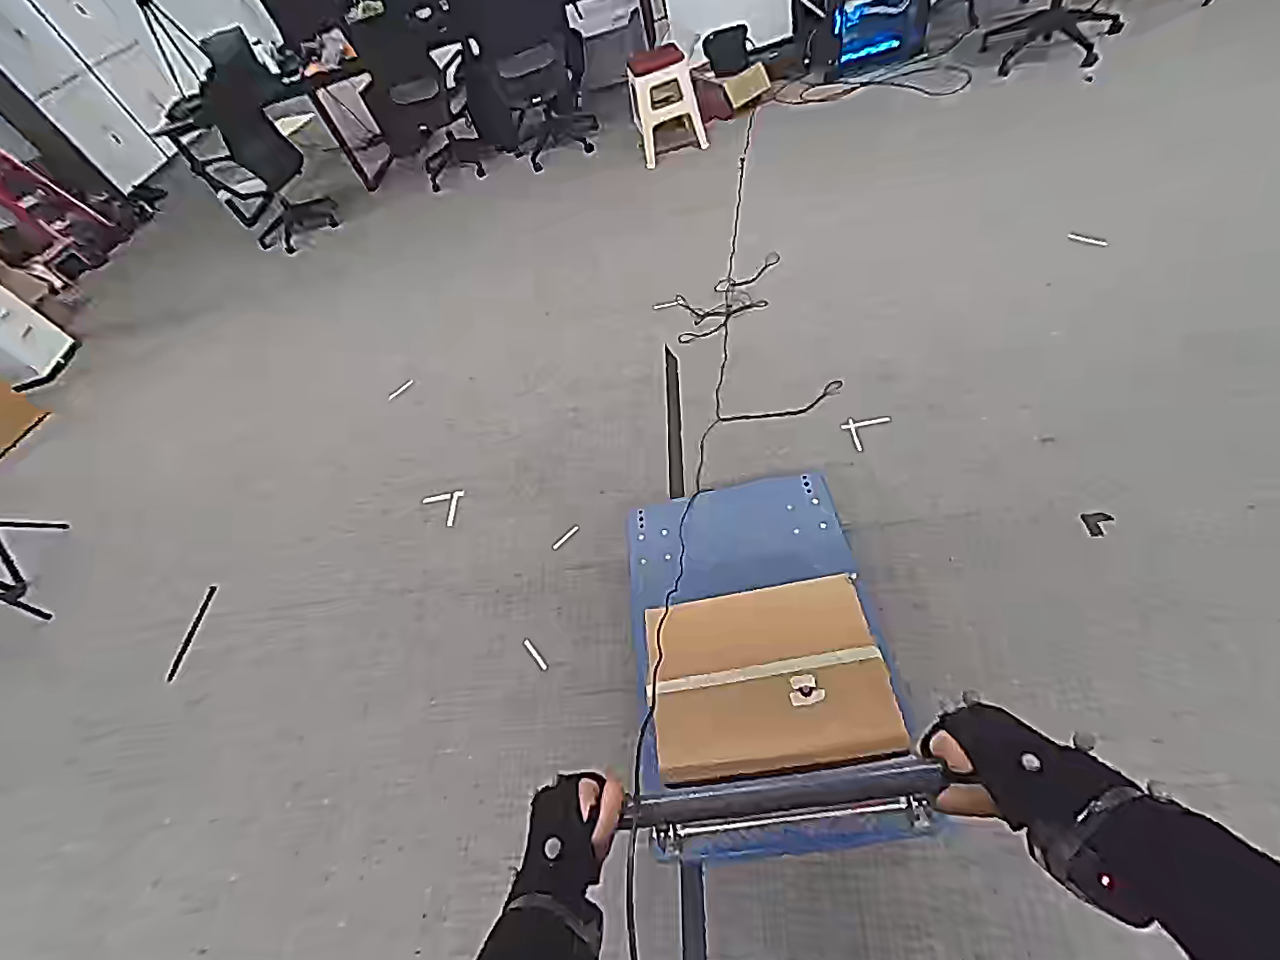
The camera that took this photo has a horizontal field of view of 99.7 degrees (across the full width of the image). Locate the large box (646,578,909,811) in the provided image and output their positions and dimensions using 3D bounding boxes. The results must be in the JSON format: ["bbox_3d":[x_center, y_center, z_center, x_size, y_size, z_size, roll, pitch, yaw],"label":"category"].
[{"bbox_3d":[0.248,0.435,1.069,0.408,0.320,0.320,-12,52,8],"label":"large box"}]
